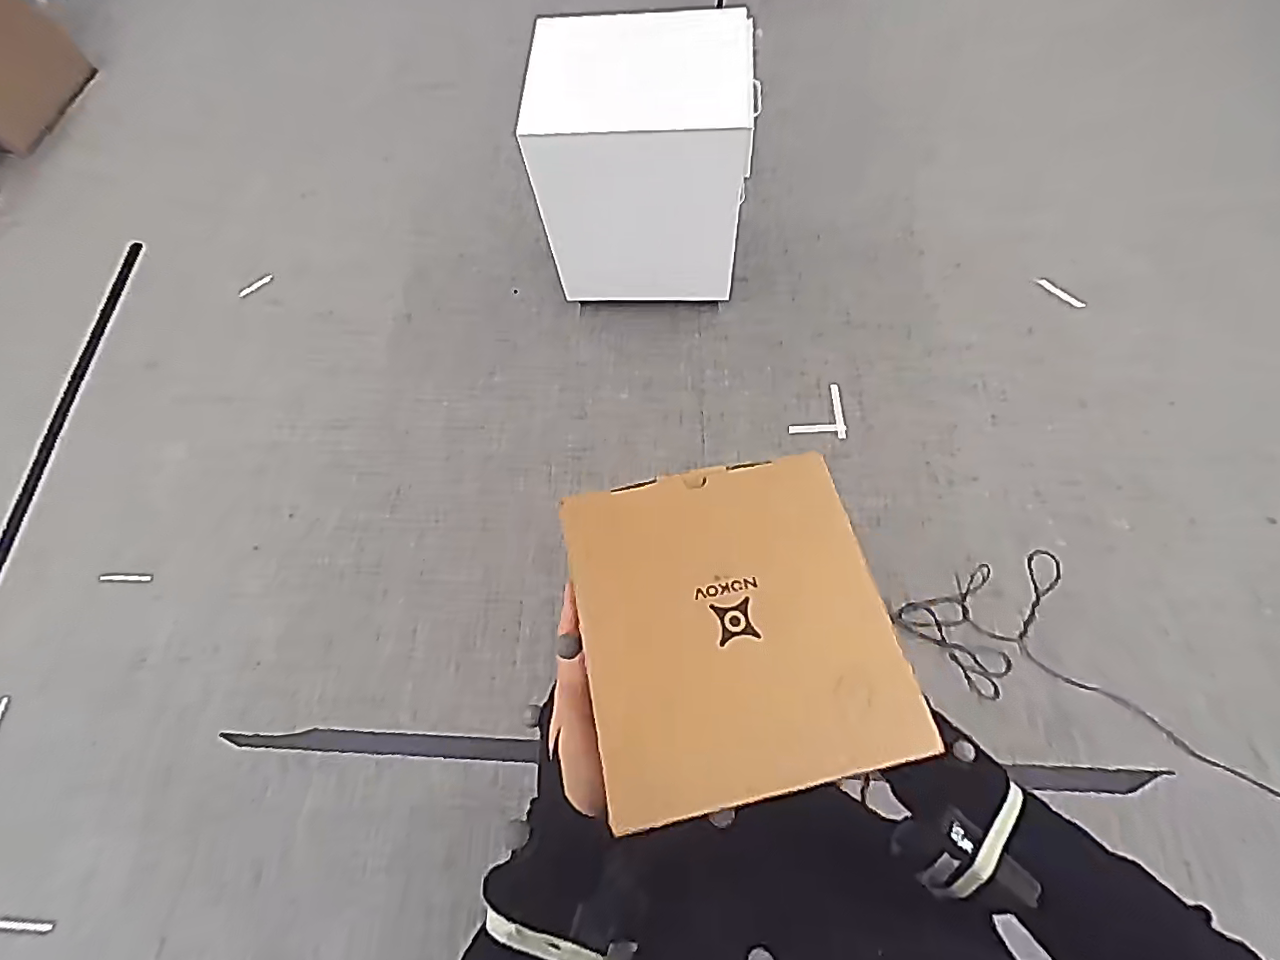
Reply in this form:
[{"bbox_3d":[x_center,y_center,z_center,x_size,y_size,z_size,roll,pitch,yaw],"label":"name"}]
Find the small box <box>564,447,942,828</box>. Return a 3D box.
[{"bbox_3d":[0.051,0.105,0.360,0.168,0.176,0.179,-10,62,-6],"label":"small box"}]
